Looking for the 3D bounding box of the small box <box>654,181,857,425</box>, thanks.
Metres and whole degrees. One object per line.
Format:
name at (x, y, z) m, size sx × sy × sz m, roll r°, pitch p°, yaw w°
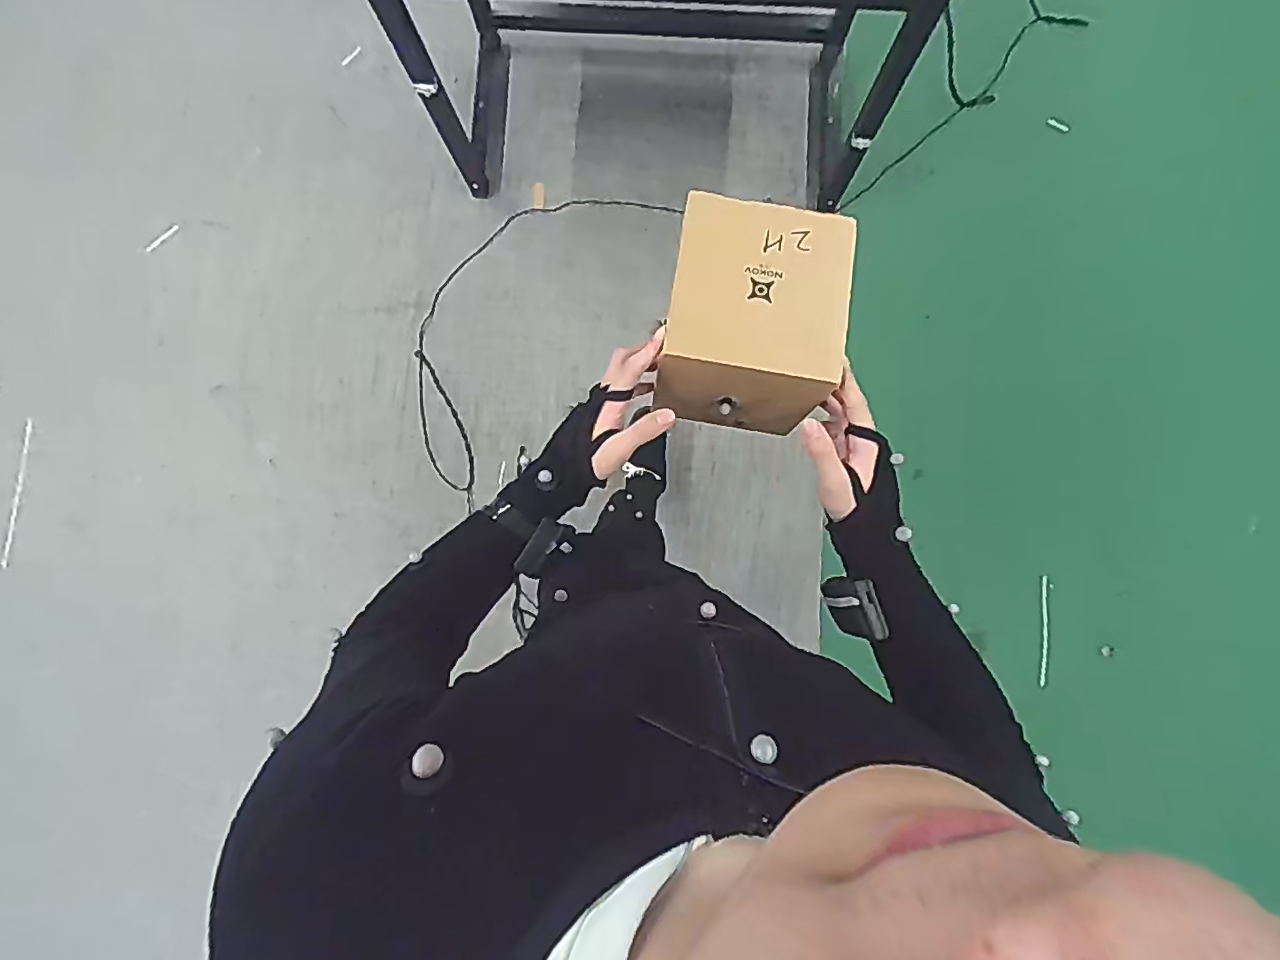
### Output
small box at (0.109, -0.171, 0.572) m, size 0.168 × 0.176 × 0.179 m, roll 10°, pitch 77°, yaw 0°
